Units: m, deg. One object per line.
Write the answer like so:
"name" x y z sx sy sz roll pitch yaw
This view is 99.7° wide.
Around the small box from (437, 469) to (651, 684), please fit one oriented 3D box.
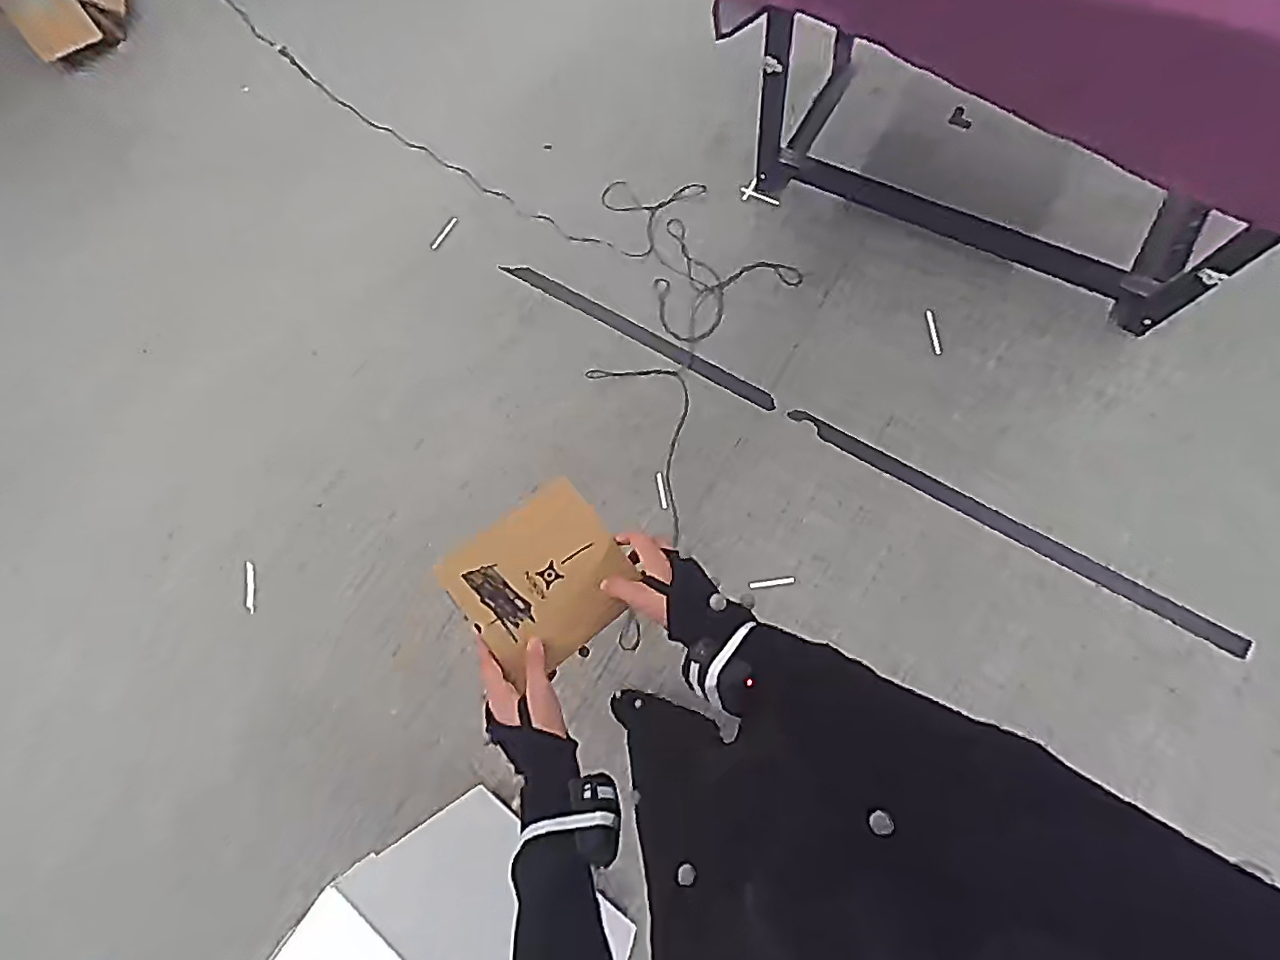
"small box" -0.109 0.117 0.657 0.179 0.176 0.168 -36 83 -13
